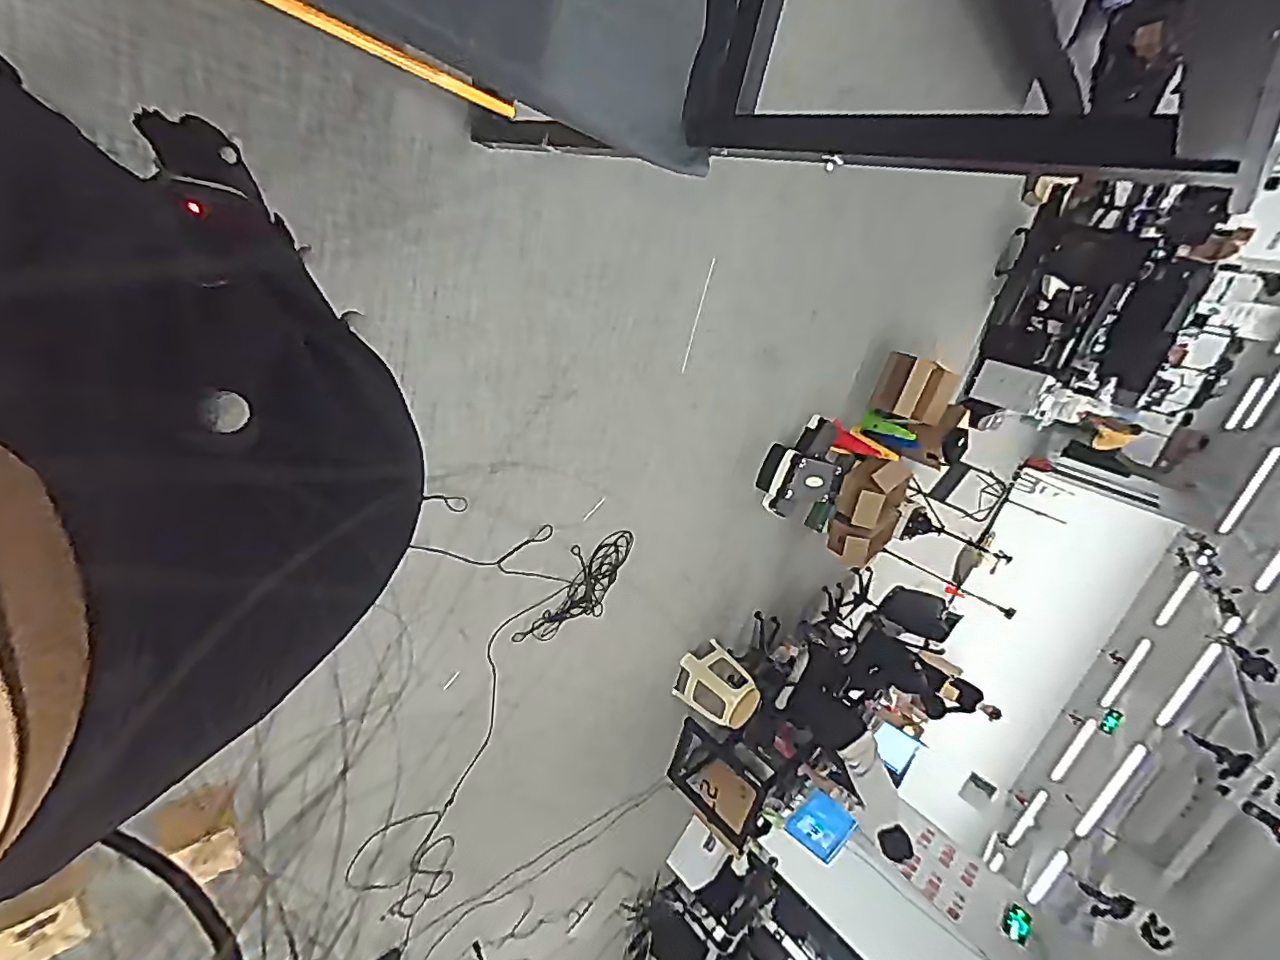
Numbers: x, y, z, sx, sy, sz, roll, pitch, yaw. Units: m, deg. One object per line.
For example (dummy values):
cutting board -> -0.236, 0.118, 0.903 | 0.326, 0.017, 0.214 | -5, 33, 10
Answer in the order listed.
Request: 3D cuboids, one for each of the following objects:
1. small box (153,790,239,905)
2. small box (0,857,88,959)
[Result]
small box -> -1.270, 1.043, 1.549 | 0.168, 0.176, 0.179 | -10, 120, -45
small box -> -1.490, 1.074, 1.322 | 0.168, 0.176, 0.179 | -14, 124, -42
